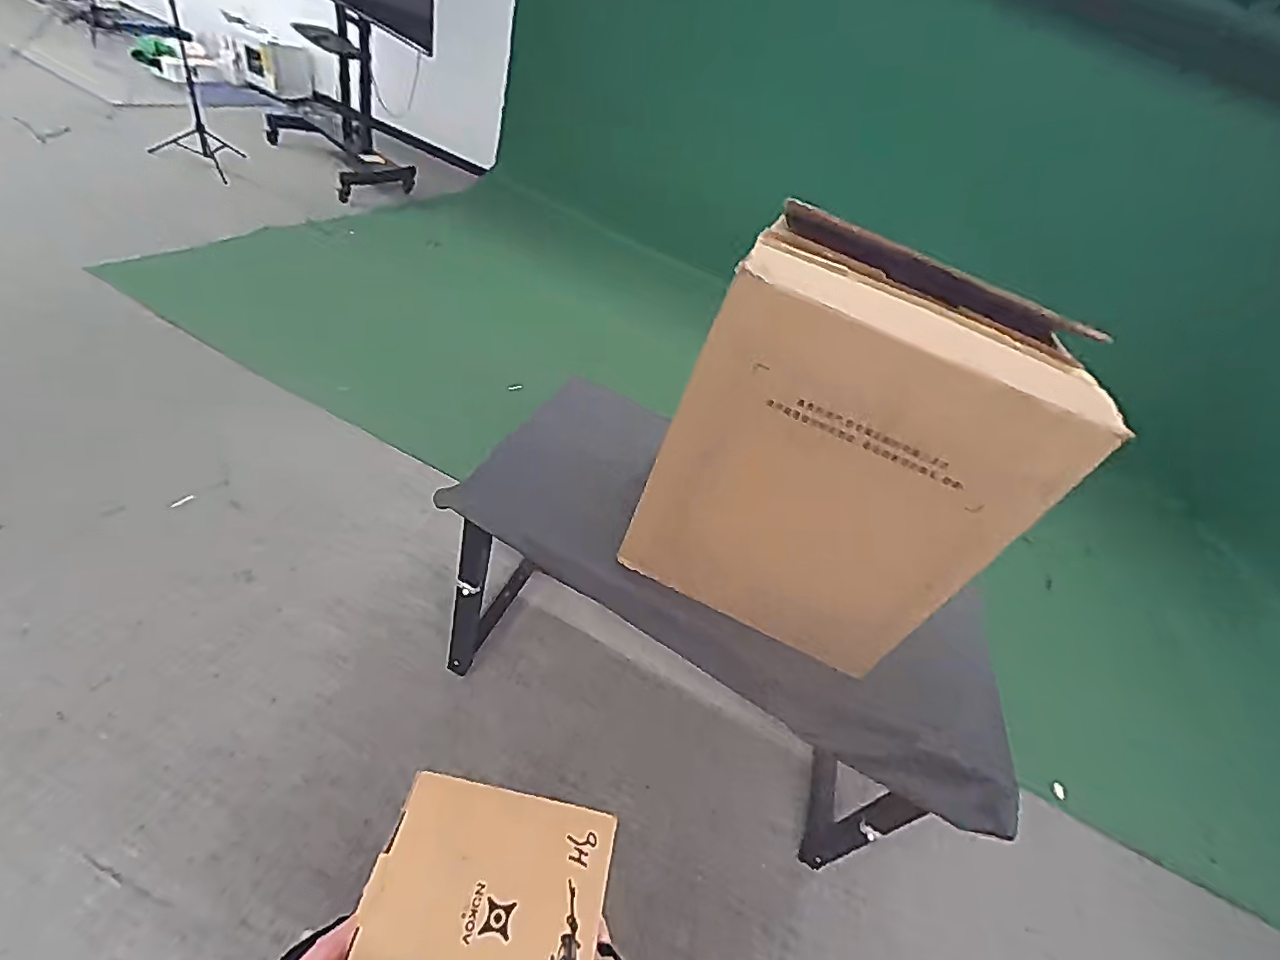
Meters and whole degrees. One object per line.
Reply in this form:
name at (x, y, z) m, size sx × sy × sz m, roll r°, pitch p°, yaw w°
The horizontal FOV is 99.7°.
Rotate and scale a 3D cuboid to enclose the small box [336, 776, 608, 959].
small box at (-0.143, 0.381, 0.466) m, size 0.179 × 0.176 × 0.168 m, roll 17°, pitch 49°, yaw -5°
